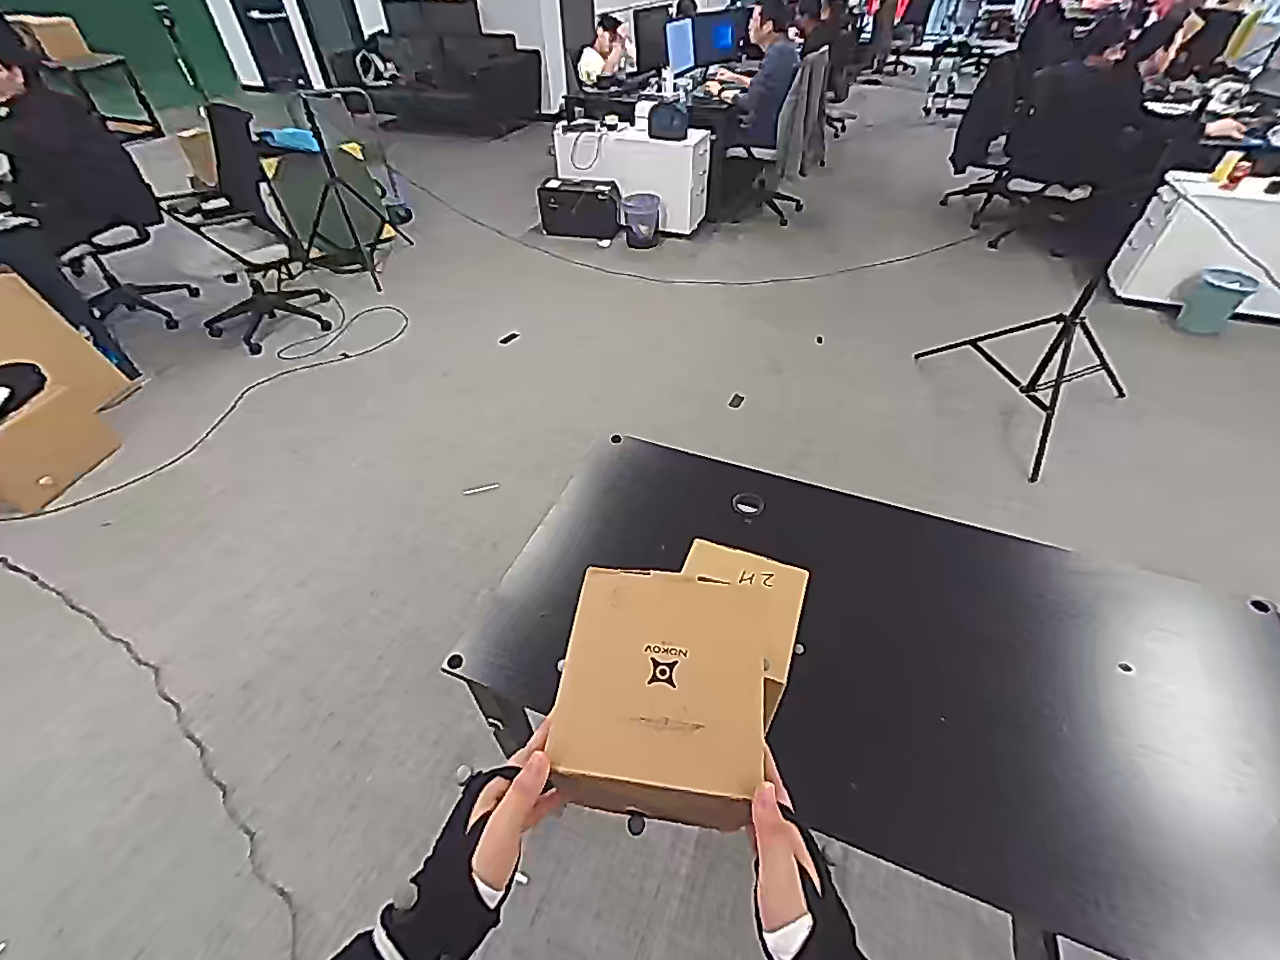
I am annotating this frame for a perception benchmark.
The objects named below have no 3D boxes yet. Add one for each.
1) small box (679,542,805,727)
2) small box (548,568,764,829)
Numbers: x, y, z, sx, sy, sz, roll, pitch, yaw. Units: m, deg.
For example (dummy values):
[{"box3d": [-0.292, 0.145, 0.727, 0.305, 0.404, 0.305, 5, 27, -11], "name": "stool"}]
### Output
[{"box3d": [0.125, 0.224, 0.773, 0.168, 0.176, 0.179, 15, 46, 15], "name": "small box"}, {"box3d": [0.023, 0.209, 0.516, 0.168, 0.176, 0.179, 5, 51, 7], "name": "small box"}]
